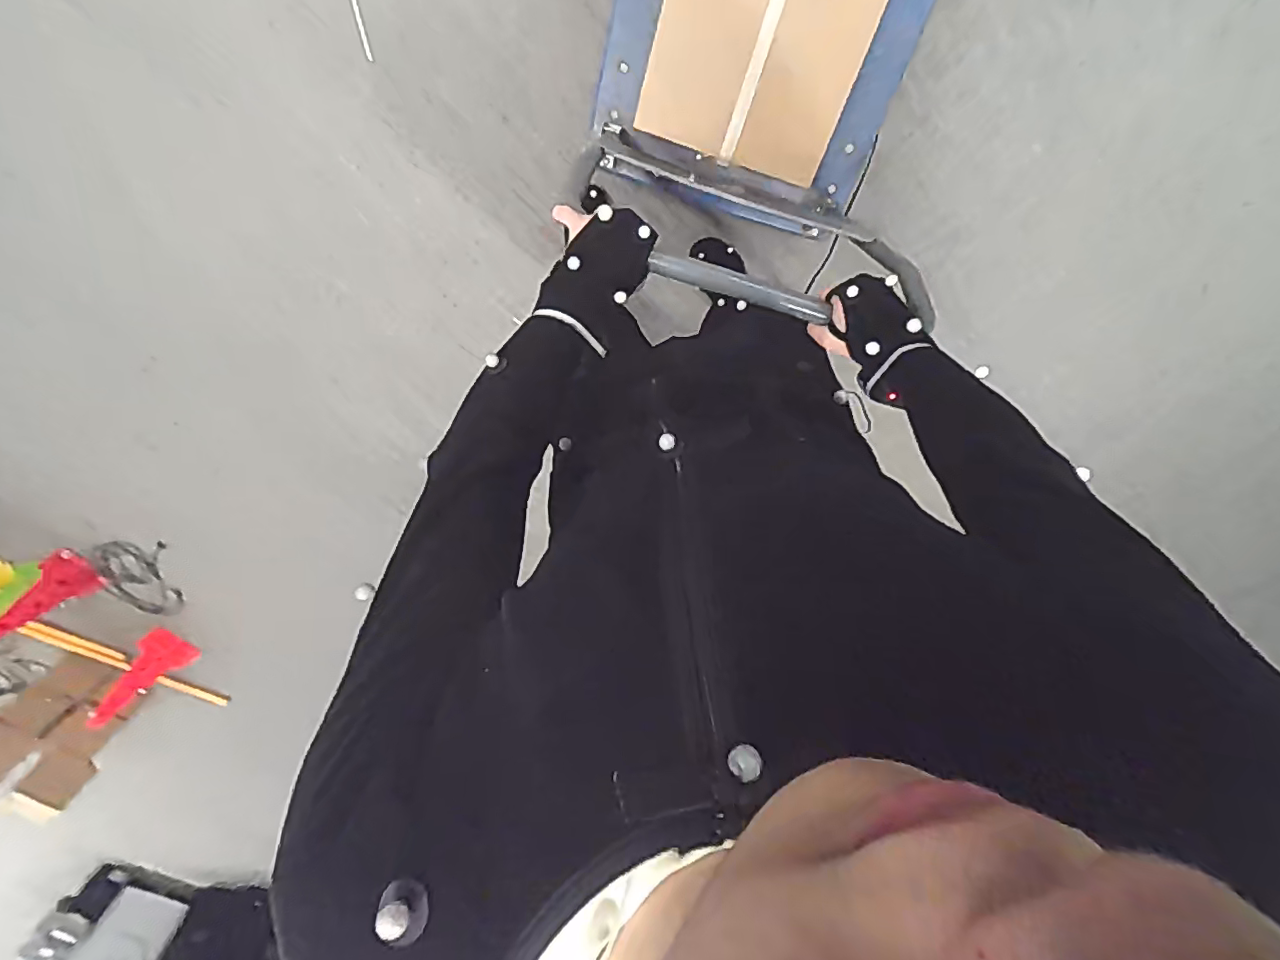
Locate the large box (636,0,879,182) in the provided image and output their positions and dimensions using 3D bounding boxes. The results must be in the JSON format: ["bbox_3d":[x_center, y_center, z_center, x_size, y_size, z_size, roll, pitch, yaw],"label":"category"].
[{"bbox_3d":[0.195,-0.780,0.931,0.320,0.320,0.408,15,120,-8],"label":"large box"}]
